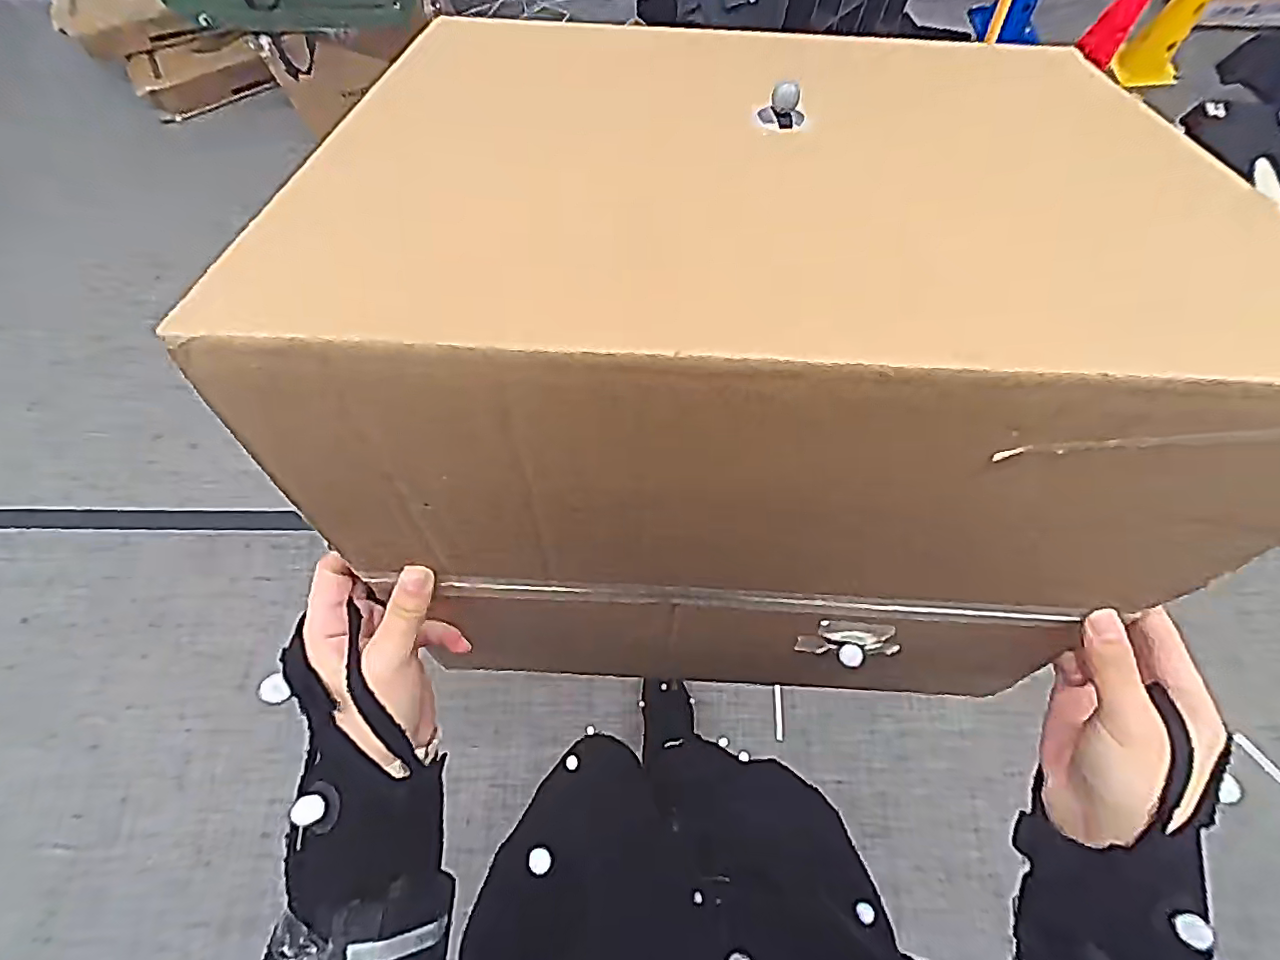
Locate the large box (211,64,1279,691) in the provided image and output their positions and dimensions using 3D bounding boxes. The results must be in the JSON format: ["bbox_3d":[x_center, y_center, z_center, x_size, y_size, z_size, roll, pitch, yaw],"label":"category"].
[{"bbox_3d":[0.057,-0.059,0.379,0.408,0.320,0.320,2,54,1],"label":"large box"}]
